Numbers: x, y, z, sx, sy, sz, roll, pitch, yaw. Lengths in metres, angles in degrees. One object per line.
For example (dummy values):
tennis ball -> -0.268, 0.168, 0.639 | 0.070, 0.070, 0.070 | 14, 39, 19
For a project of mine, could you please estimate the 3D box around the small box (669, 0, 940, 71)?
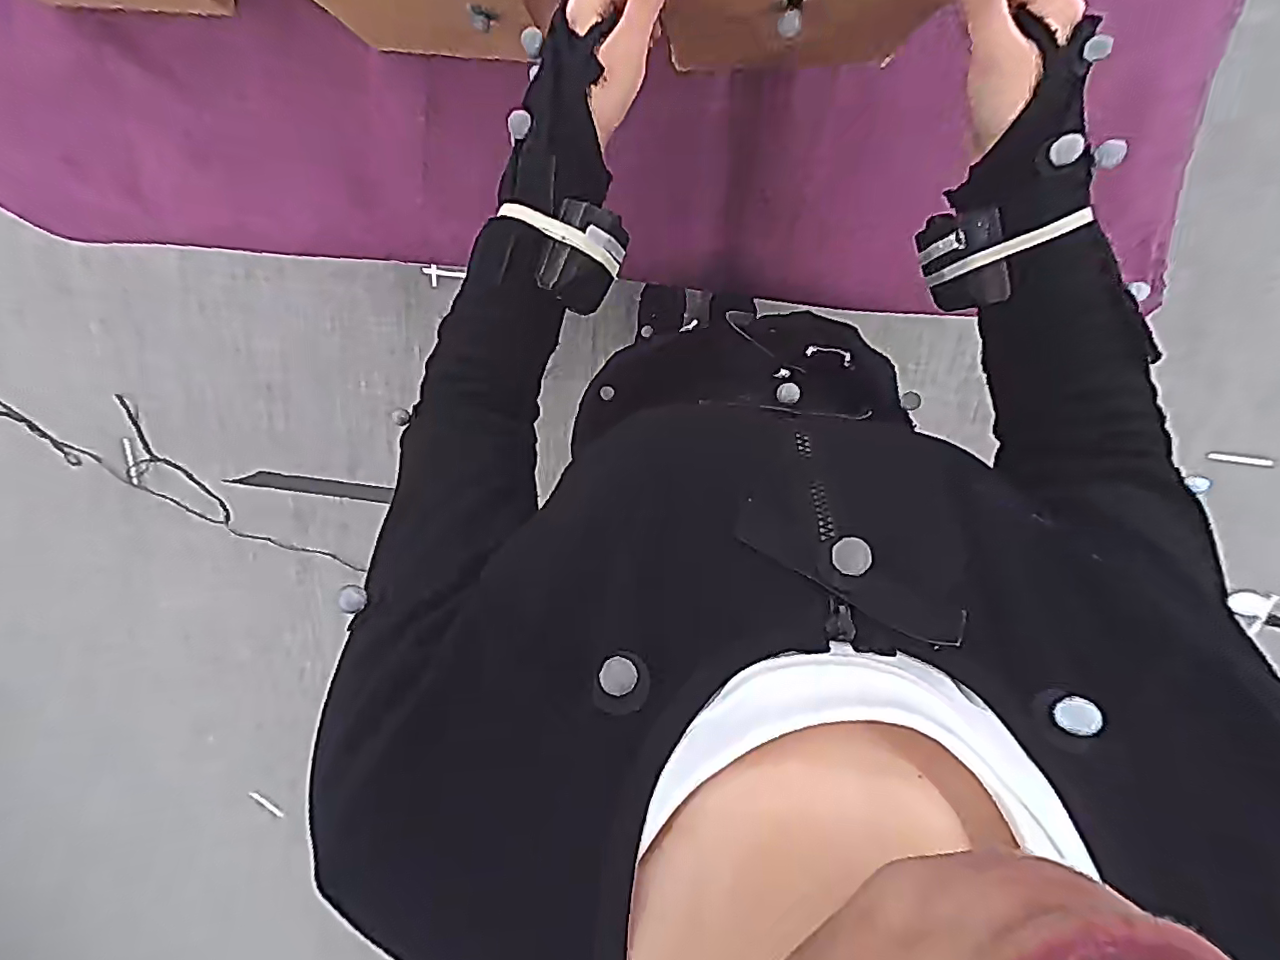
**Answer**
small box -> 0.112, -0.389, 0.345 | 0.179, 0.176, 0.168 | 4, 111, 7

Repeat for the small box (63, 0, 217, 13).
small box -> -0.457, -0.490, 0.406 | 0.179, 0.176, 0.168 | 3, 110, 0
